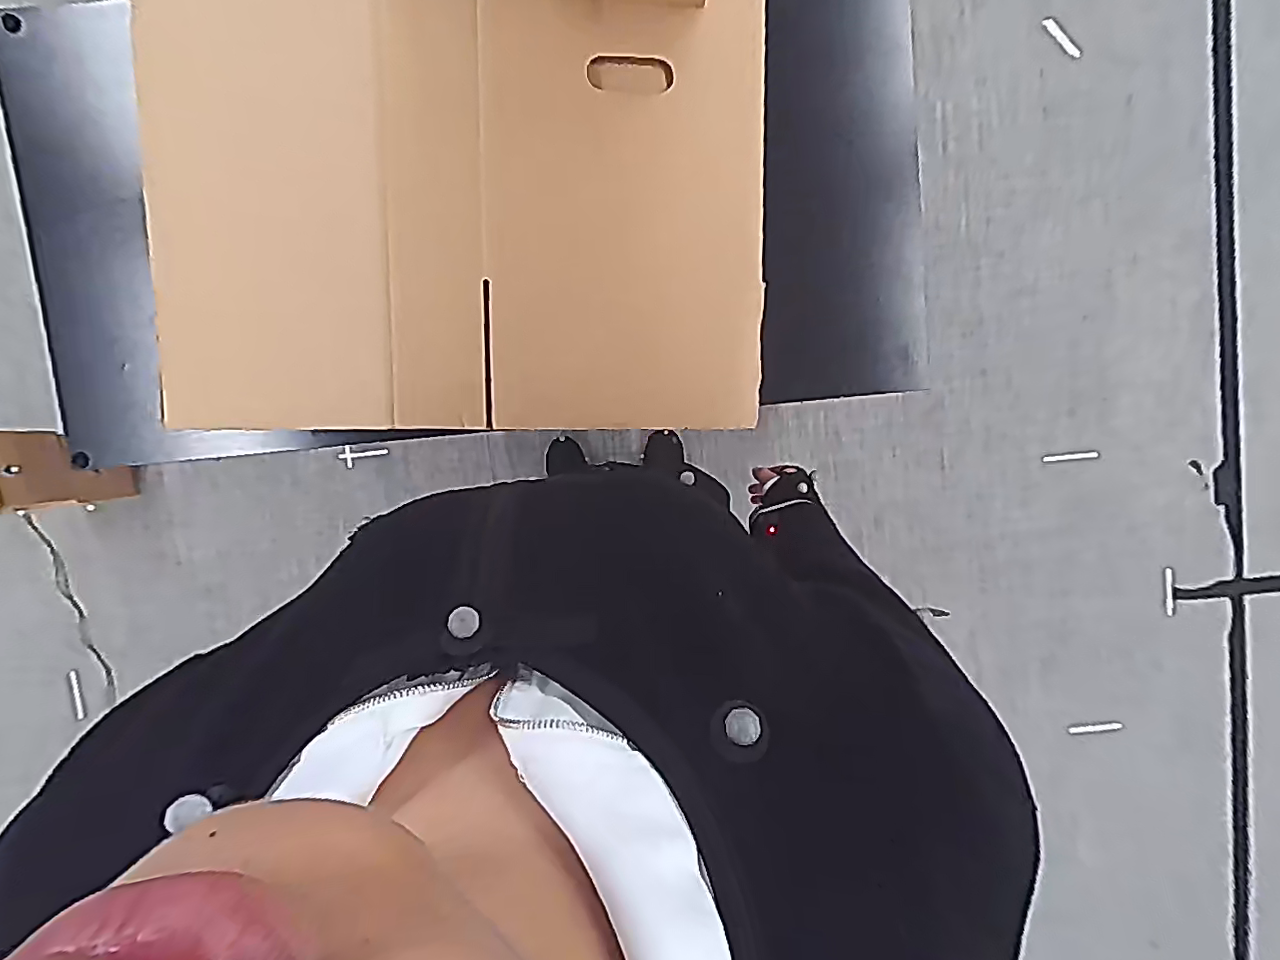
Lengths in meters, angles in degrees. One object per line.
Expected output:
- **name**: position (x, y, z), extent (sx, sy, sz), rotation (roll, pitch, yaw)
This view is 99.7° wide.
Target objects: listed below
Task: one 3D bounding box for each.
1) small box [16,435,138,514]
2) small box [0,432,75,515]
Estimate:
- **small box**: position (-1.468, -0.018, 1.399), extent (0.168, 0.176, 0.179), rotation (-10, 96, 0)
- **small box**: position (-1.467, -0.011, 1.236), extent (0.168, 0.176, 0.179), rotation (-12, 94, 0)
